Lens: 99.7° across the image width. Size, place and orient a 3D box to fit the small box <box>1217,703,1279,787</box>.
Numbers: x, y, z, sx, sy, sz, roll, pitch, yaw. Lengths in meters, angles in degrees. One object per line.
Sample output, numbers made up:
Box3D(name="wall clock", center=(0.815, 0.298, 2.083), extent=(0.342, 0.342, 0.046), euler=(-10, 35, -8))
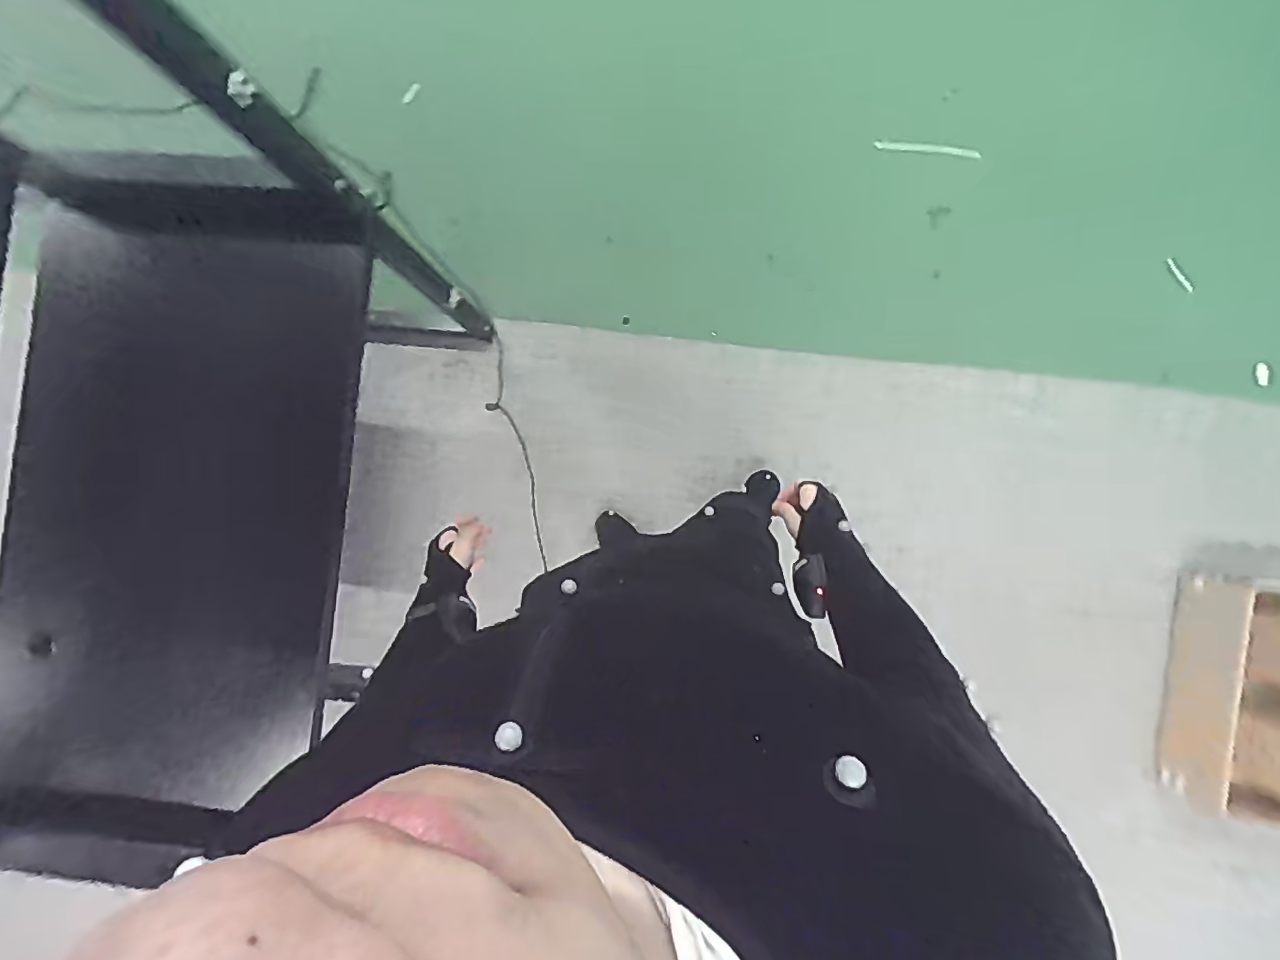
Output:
Box3D(name="small box", center=(1.693, 0.705, 1.422), extent=(0.179, 0.176, 0.168), euler=(9, 89, 3))
